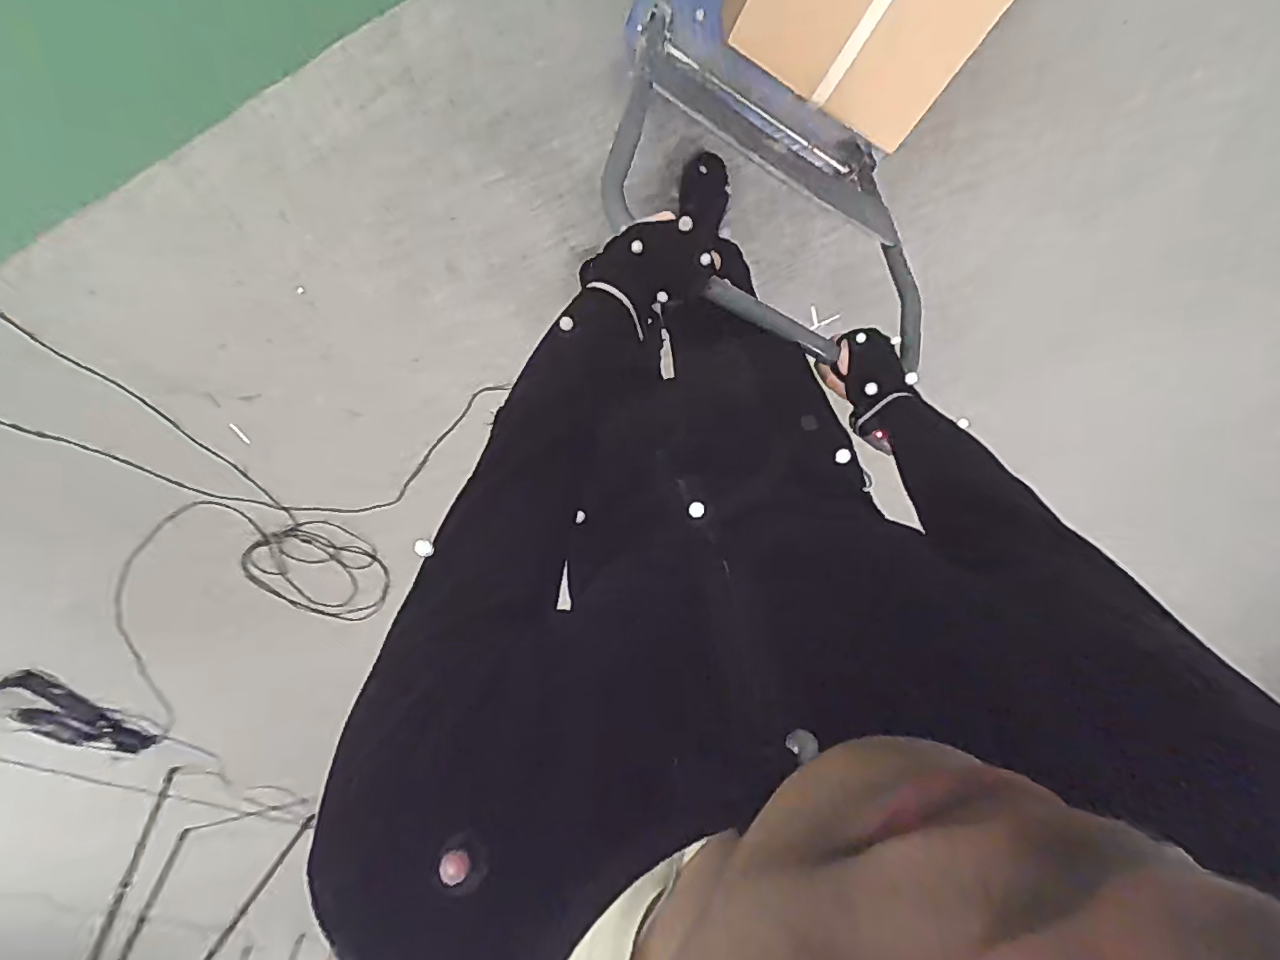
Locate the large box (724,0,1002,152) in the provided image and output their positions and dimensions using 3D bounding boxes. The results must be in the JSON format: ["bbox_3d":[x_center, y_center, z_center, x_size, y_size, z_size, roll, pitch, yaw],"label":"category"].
[{"bbox_3d":[0.354,-0.796,0.782,0.320,0.320,0.408,21,137,-18],"label":"large box"}]
